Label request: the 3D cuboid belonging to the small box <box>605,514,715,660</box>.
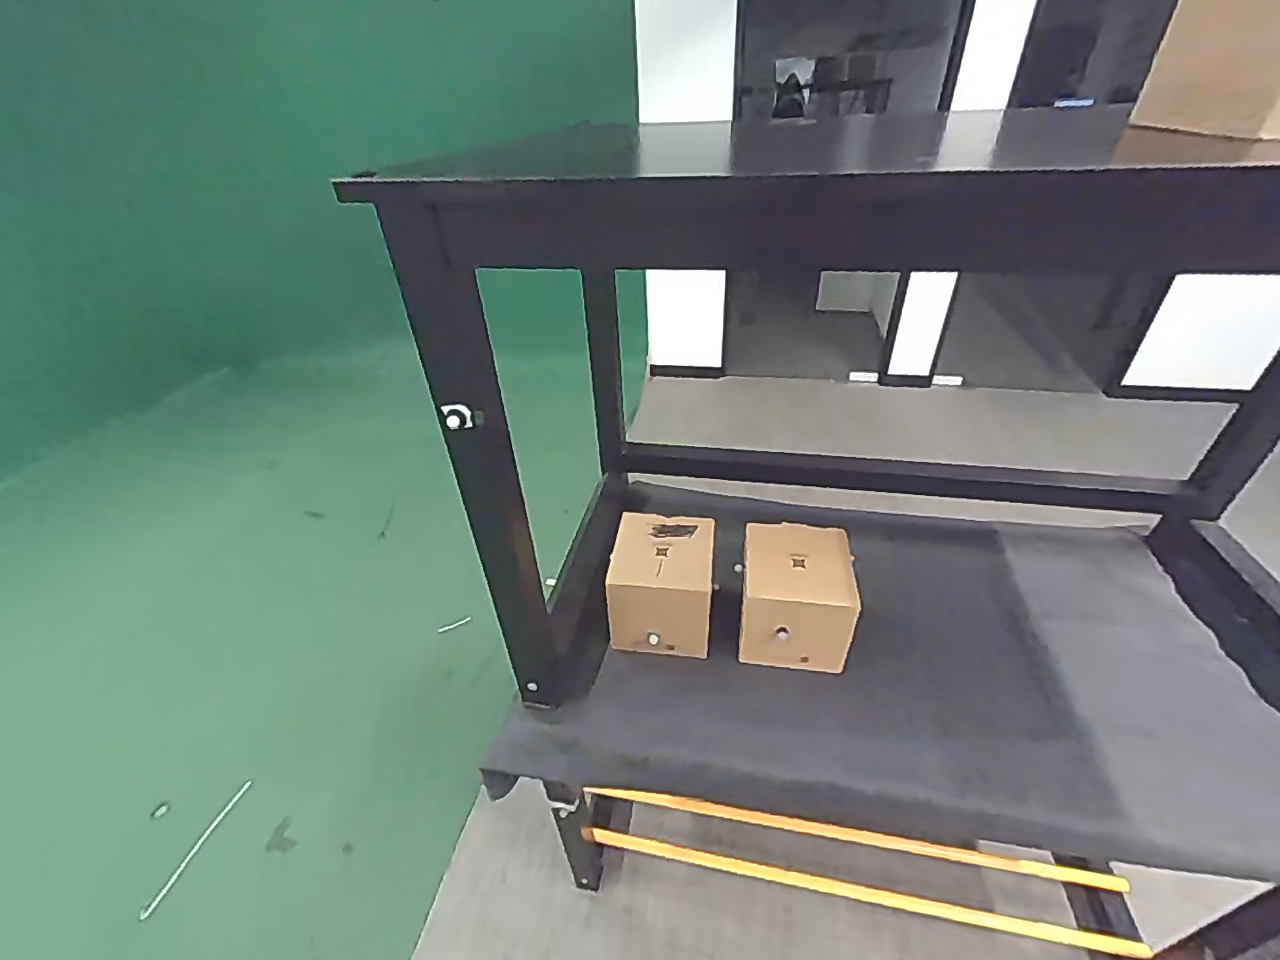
[{"bbox_3d":[0.041,0.182,0.939,0.168,0.176,0.179,3,37,9],"label":"small box"}]
